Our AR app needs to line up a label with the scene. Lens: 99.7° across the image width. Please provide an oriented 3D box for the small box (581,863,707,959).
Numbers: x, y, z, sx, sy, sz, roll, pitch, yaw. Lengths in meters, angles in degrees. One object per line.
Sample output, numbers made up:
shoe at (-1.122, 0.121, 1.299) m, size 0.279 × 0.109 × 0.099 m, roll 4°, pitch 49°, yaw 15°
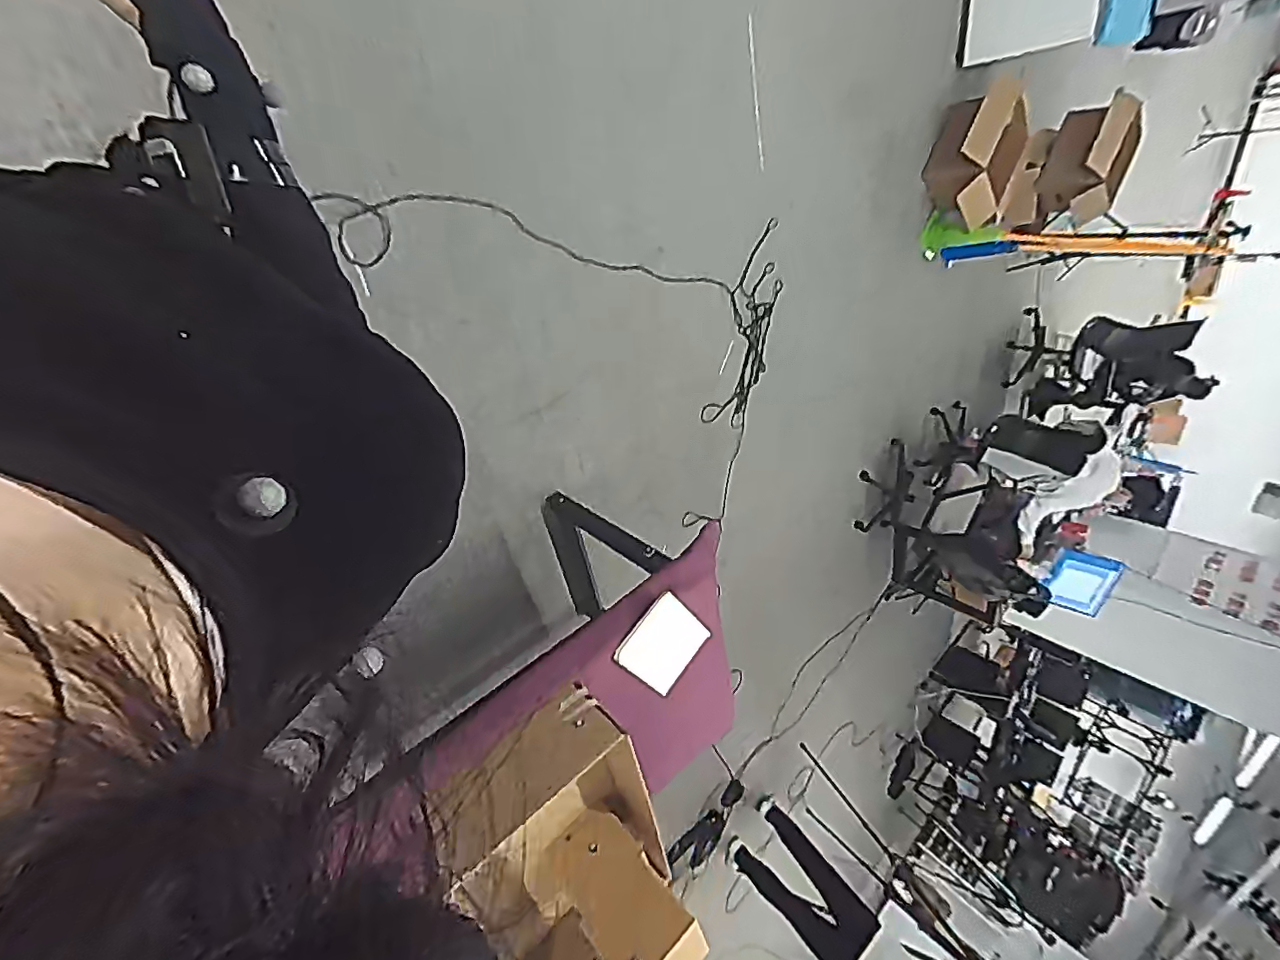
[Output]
small box at (0.009, 0.937, 1.097) m, size 0.179 × 0.176 × 0.168 m, roll -33°, pitch 125°, yaw -27°

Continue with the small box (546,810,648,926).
small box at (-0.088, 0.891, 1.218) m, size 0.168 × 0.176 × 0.179 m, roll -30°, pitch 124°, yaw -29°
